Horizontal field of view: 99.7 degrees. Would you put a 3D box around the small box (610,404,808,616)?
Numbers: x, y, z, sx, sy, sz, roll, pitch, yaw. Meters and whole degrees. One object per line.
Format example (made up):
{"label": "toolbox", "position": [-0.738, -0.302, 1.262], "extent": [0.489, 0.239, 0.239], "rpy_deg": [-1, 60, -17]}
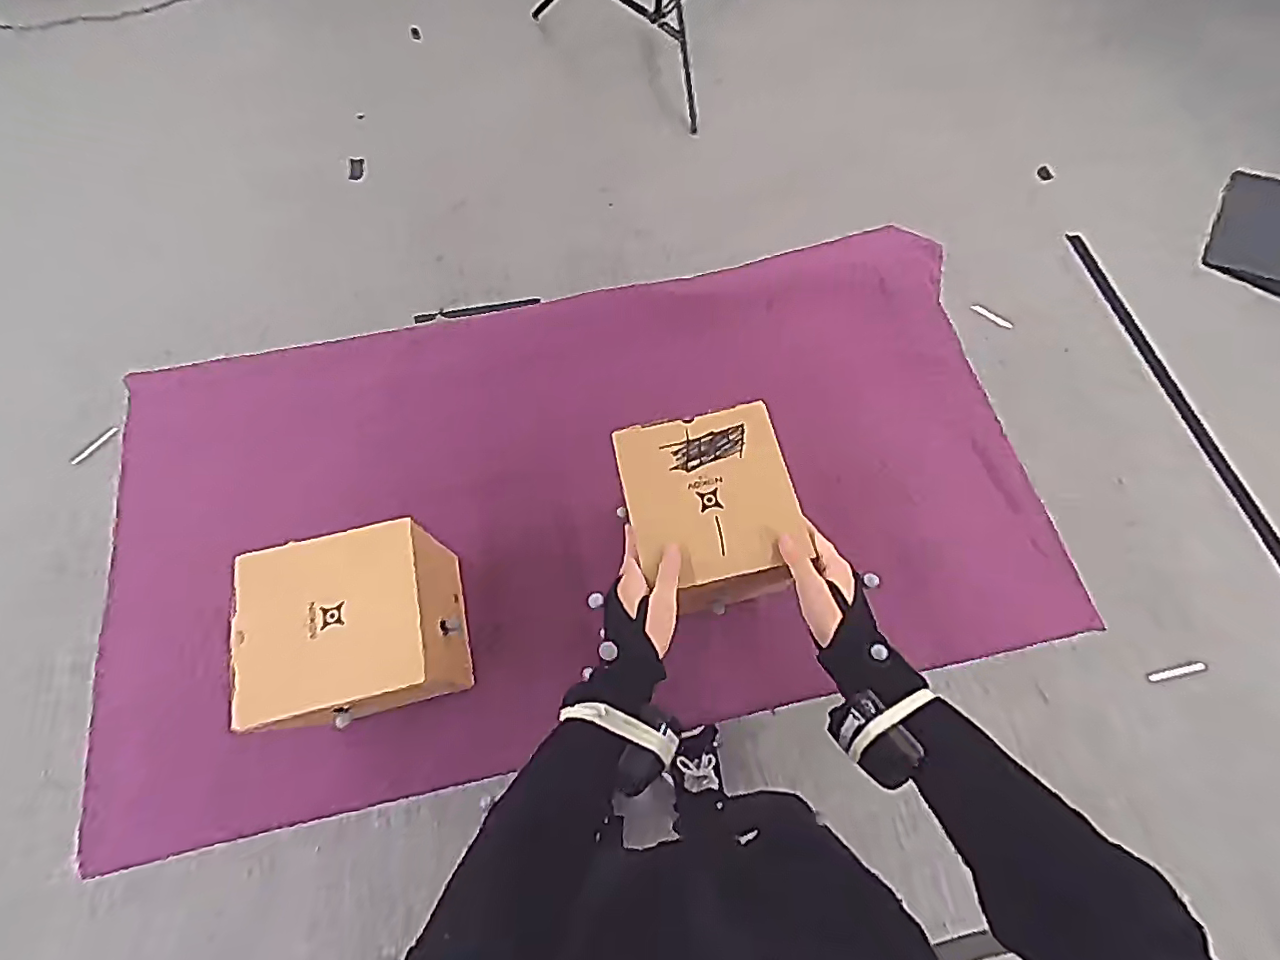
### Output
{"label": "small box", "position": [0.065, 0.042, 0.607], "extent": [0.168, 0.176, 0.179], "rpy_deg": [-12, 69, -2]}

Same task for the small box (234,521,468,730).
{"label": "small box", "position": [-0.300, 0.161, 0.595], "extent": [0.179, 0.176, 0.168], "rpy_deg": [-13, 69, -5]}
